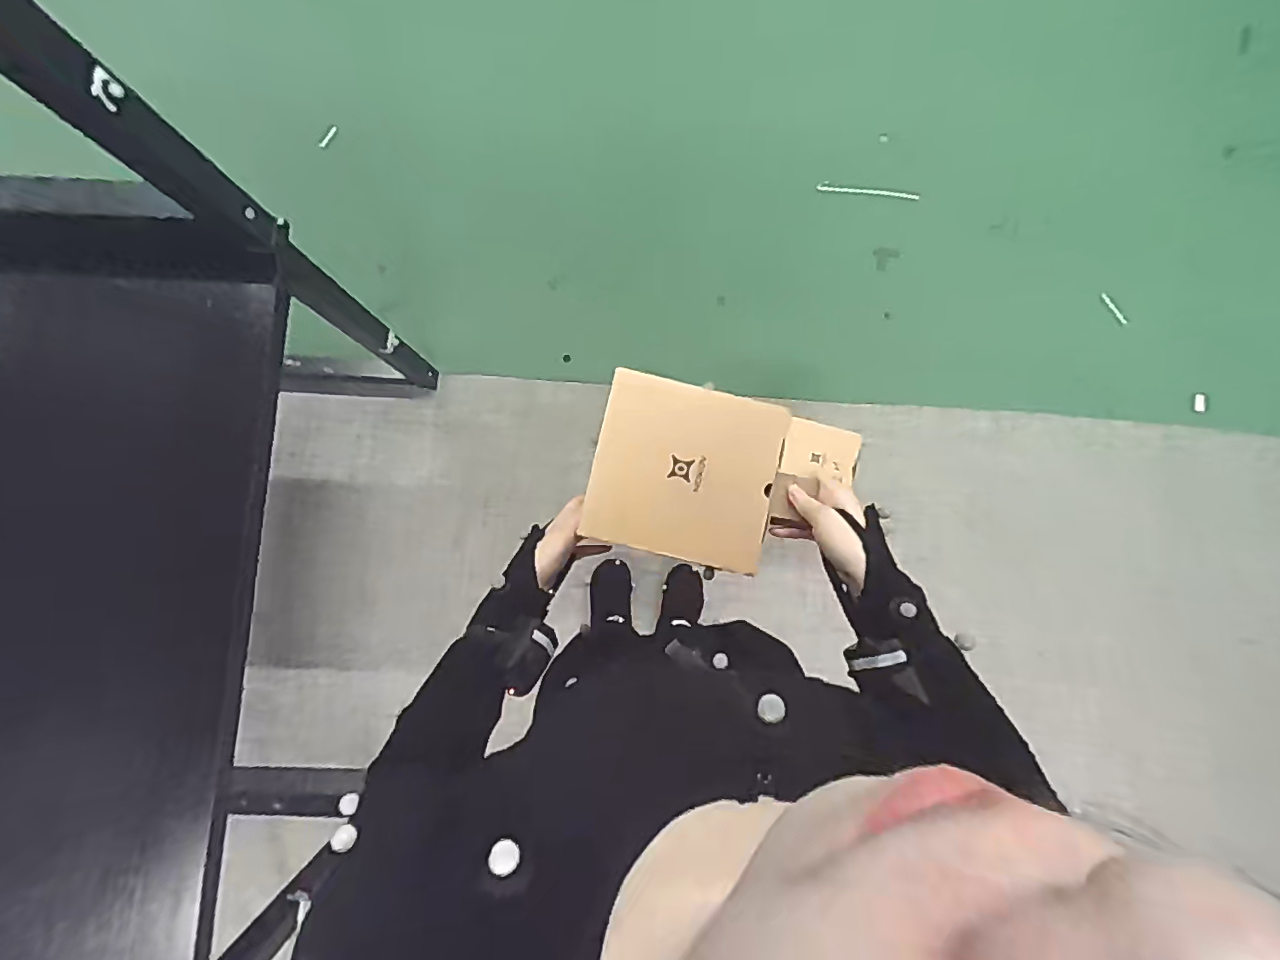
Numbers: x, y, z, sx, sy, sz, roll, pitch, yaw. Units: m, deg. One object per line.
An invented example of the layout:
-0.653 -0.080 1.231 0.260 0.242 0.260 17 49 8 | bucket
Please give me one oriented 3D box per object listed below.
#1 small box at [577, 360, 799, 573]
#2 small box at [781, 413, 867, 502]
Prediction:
0.042 -0.006 0.570 0.179 0.176 0.168 14 84 -2 | small box
0.400 -0.046 1.277 0.179 0.176 0.168 15 85 -1 | small box
